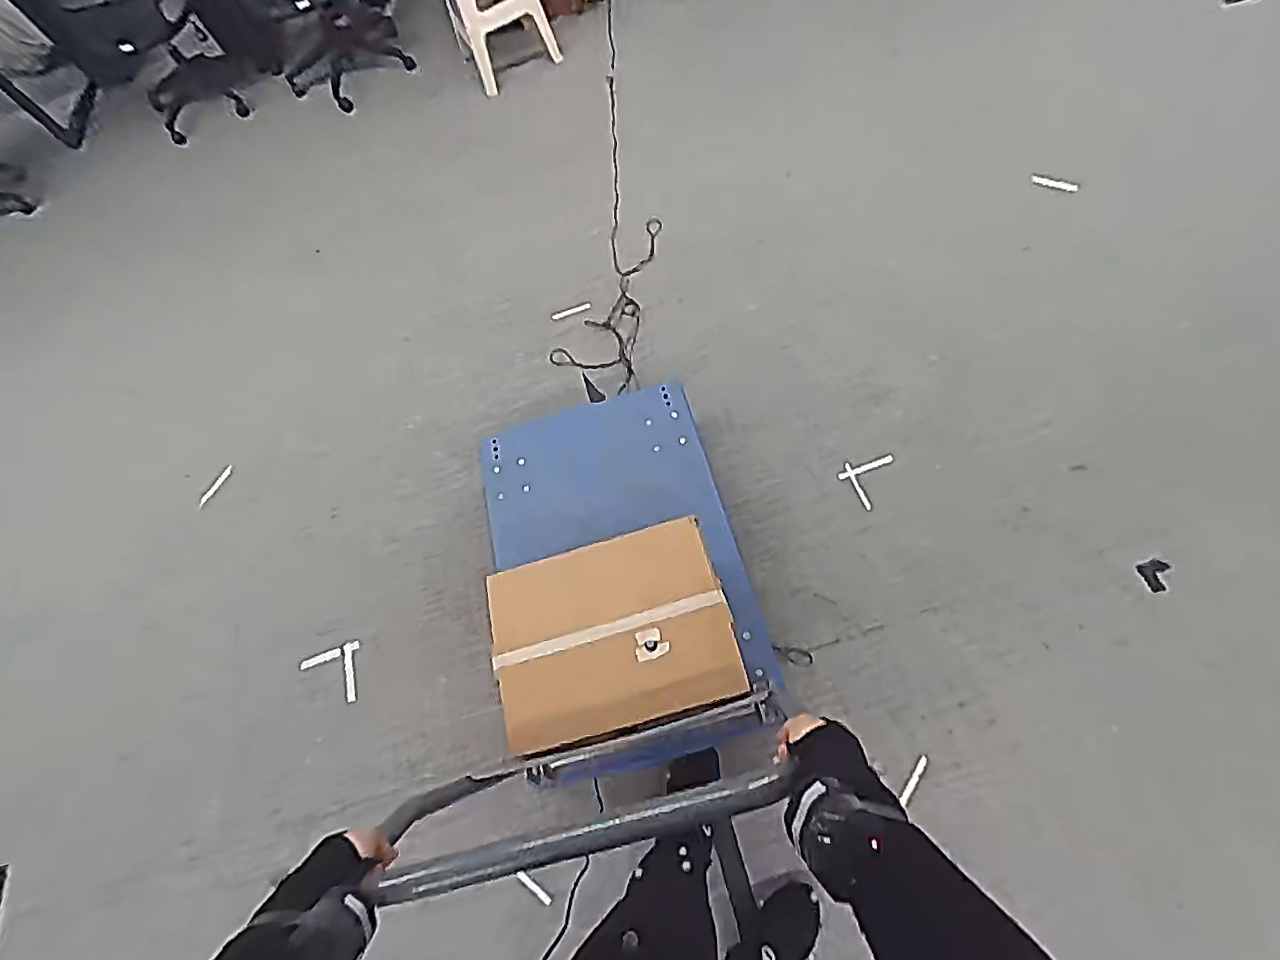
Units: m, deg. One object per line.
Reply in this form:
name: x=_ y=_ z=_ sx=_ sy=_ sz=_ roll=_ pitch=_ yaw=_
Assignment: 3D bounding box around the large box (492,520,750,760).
large box: x=-0.028 y=0.324 z=1.068 sx=0.408 sy=0.320 sz=0.320 roll=-17 pitch=65 yaw=2
